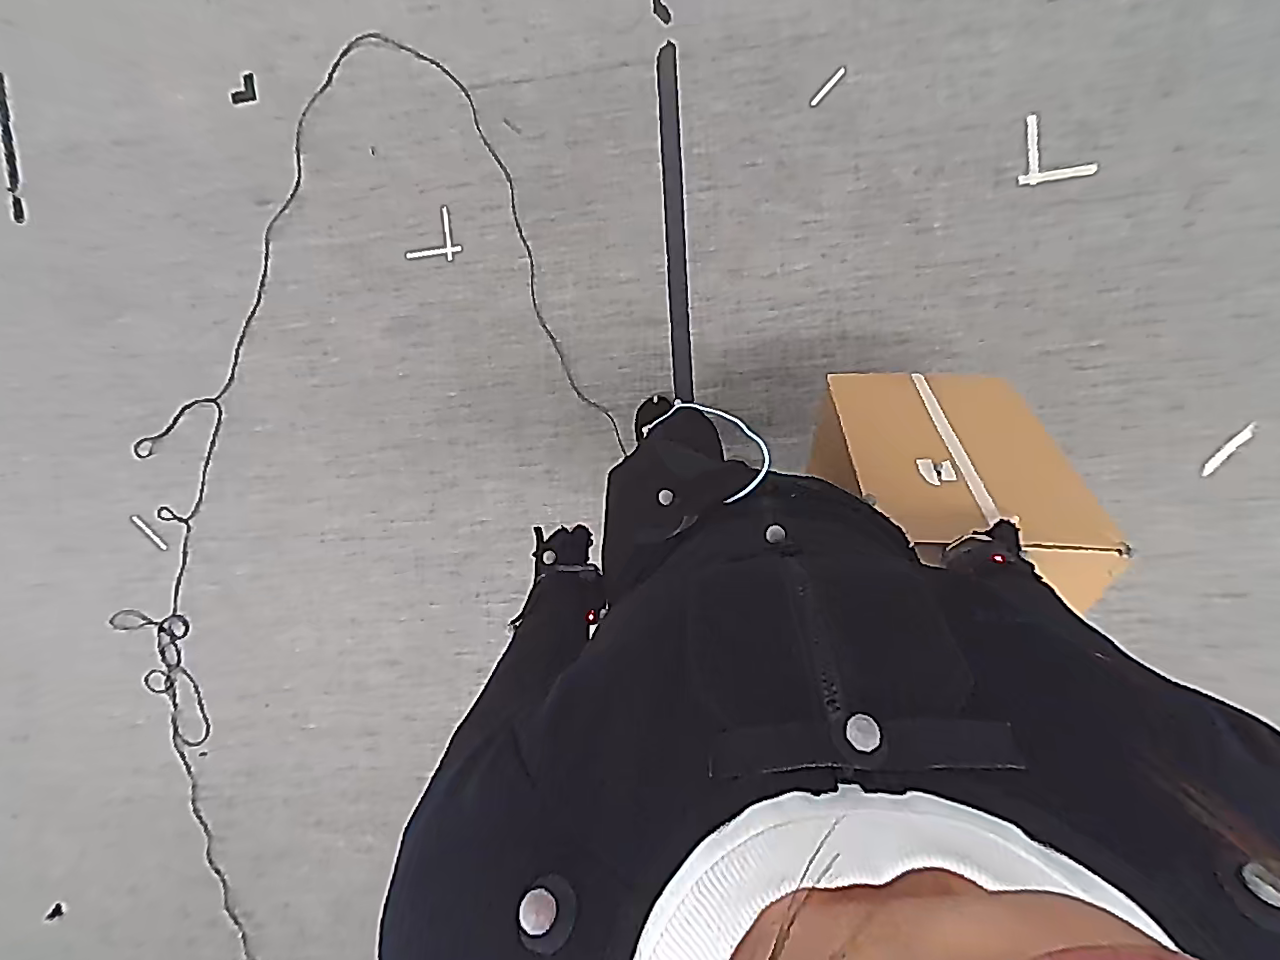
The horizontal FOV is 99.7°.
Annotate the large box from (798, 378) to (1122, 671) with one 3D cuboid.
[{"bbox_3d":[0.474,0.064,0.931,0.320,0.408,0.320,1,134,7],"label":"large box"}]
